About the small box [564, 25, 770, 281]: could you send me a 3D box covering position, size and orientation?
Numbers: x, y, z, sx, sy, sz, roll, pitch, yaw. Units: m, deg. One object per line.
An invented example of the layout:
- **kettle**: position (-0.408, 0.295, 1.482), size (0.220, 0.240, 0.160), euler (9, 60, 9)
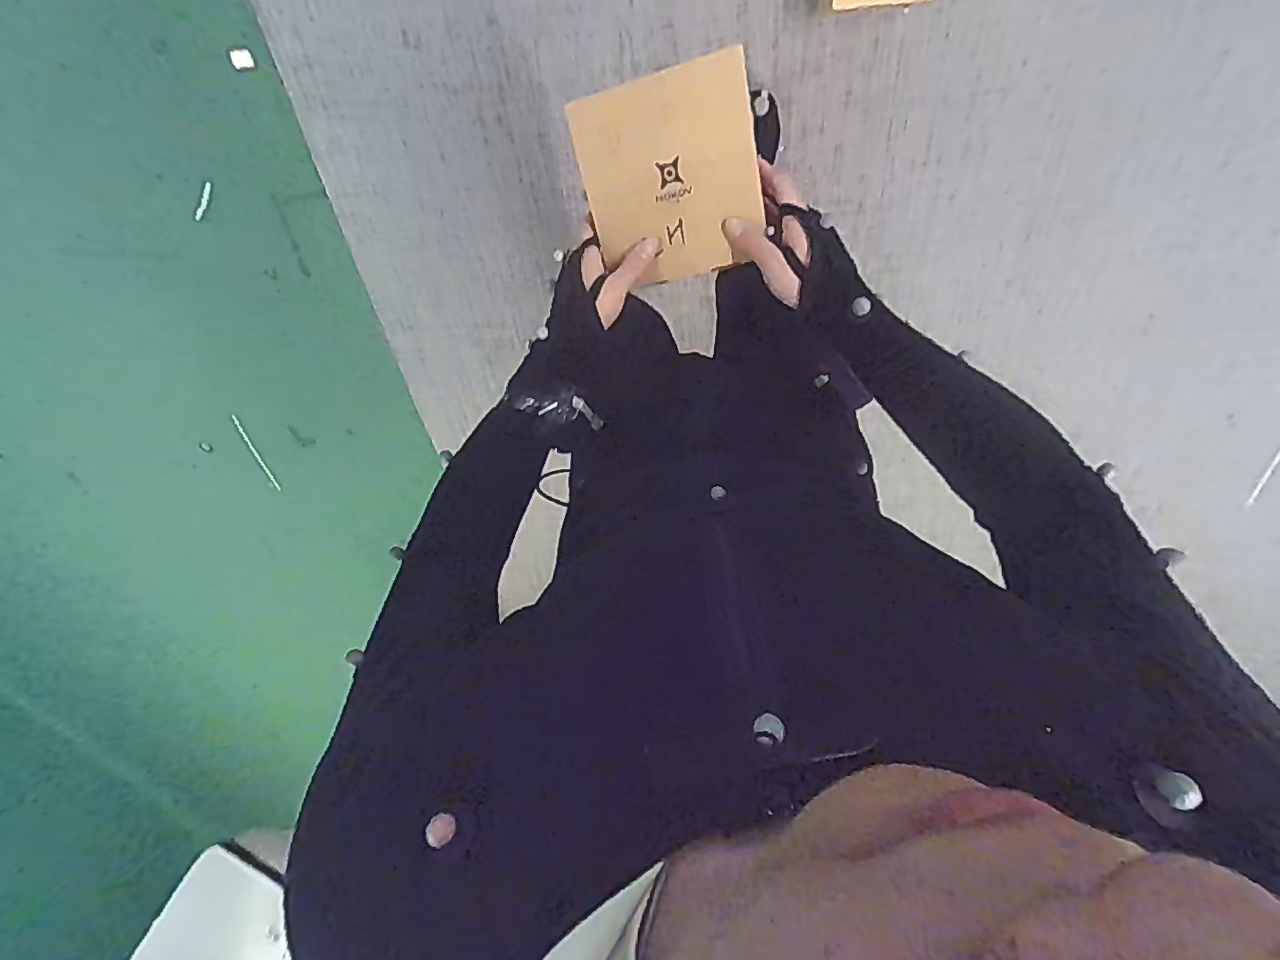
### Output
- **small box**: position (0.040, -0.329, 0.569), size (0.168, 0.176, 0.179), euler (-8, 119, 15)

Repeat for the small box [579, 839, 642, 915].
- **small box**: position (-0.089, 1.263, 1.734), size (0.168, 0.176, 0.179), euler (-3, 127, 9)

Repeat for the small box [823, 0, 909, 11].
- **small box**: position (0.421, -0.929, 0.927), size (0.179, 0.176, 0.168), euler (-1, 127, 7)
